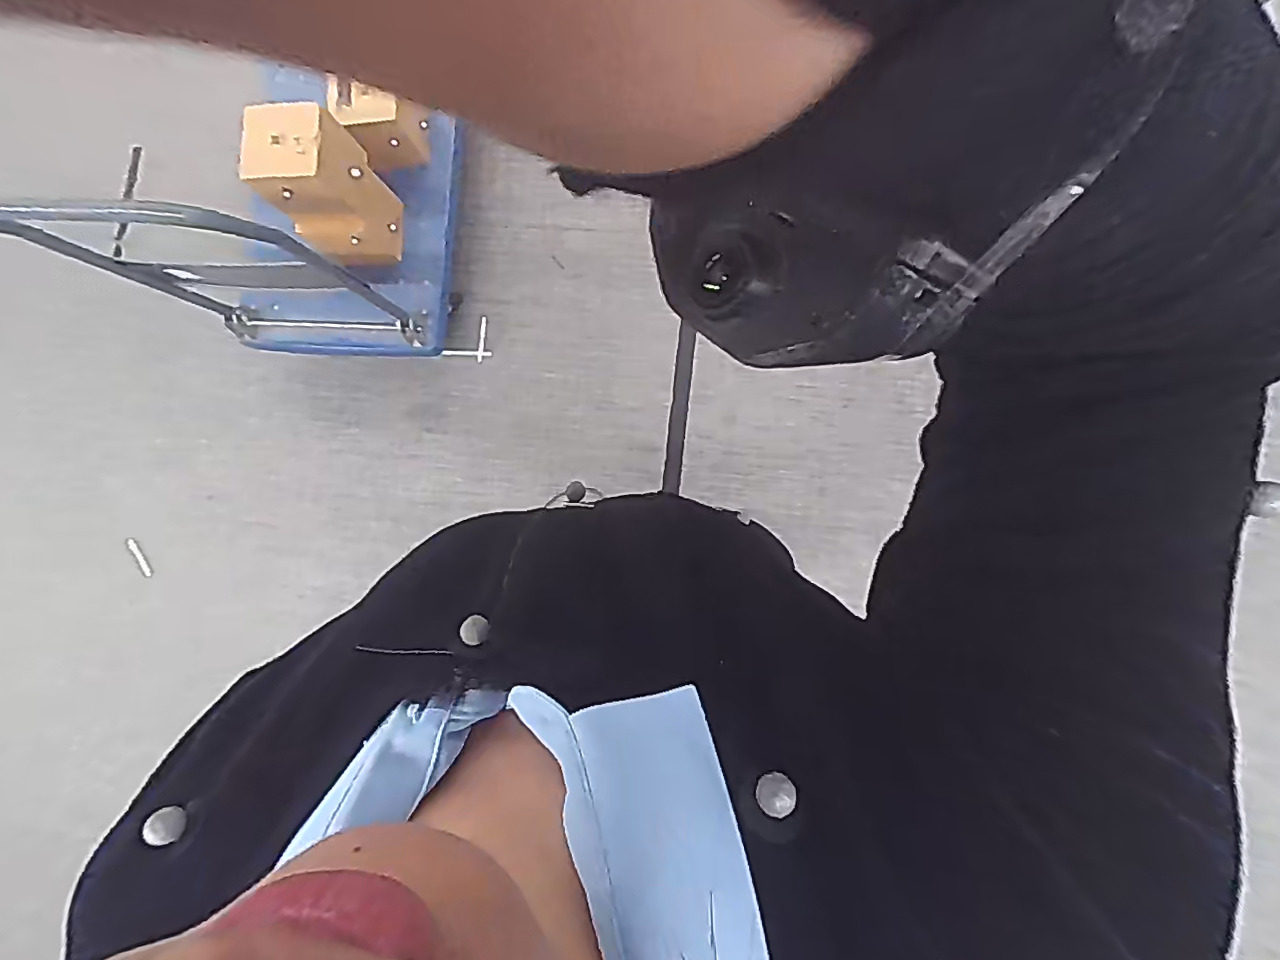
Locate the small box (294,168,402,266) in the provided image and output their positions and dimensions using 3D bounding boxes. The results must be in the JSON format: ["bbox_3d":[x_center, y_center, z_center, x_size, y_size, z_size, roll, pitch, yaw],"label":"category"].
[{"bbox_3d":[-0.733,-0.660,1.371,0.179,0.176,0.168,0,86,5],"label":"small box"}]

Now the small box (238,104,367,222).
[{"bbox_3d":[-0.748,-0.698,1.210,0.179,0.176,0.168,1,86,5],"label":"small box"}]
